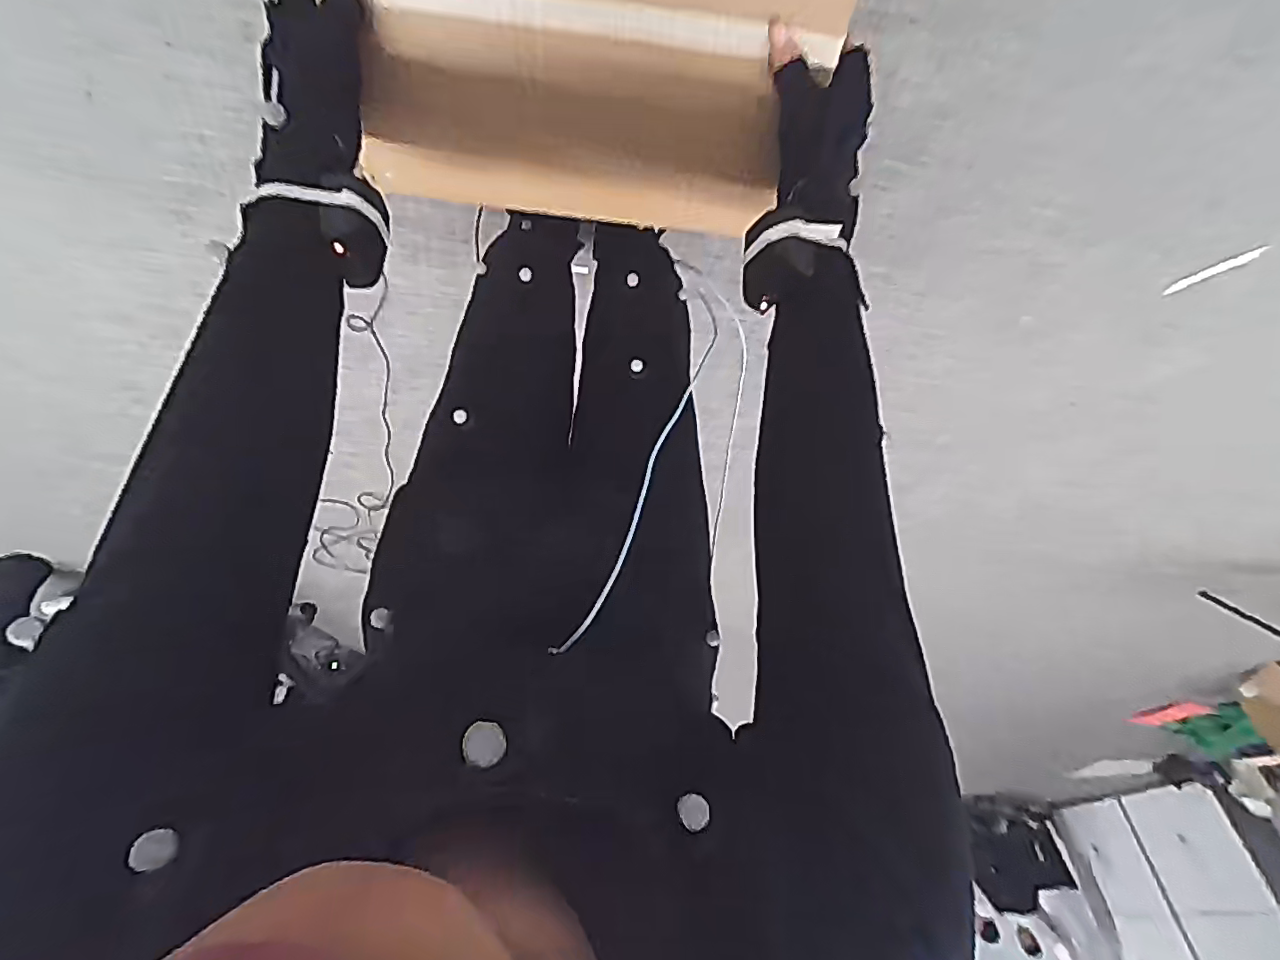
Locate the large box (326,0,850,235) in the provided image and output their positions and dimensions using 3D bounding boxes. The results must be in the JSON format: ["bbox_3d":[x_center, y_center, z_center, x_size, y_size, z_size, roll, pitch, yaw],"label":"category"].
[{"bbox_3d":[-0.036,-0.475,0.506,0.408,0.320,0.320,6,142,-4],"label":"large box"}]
